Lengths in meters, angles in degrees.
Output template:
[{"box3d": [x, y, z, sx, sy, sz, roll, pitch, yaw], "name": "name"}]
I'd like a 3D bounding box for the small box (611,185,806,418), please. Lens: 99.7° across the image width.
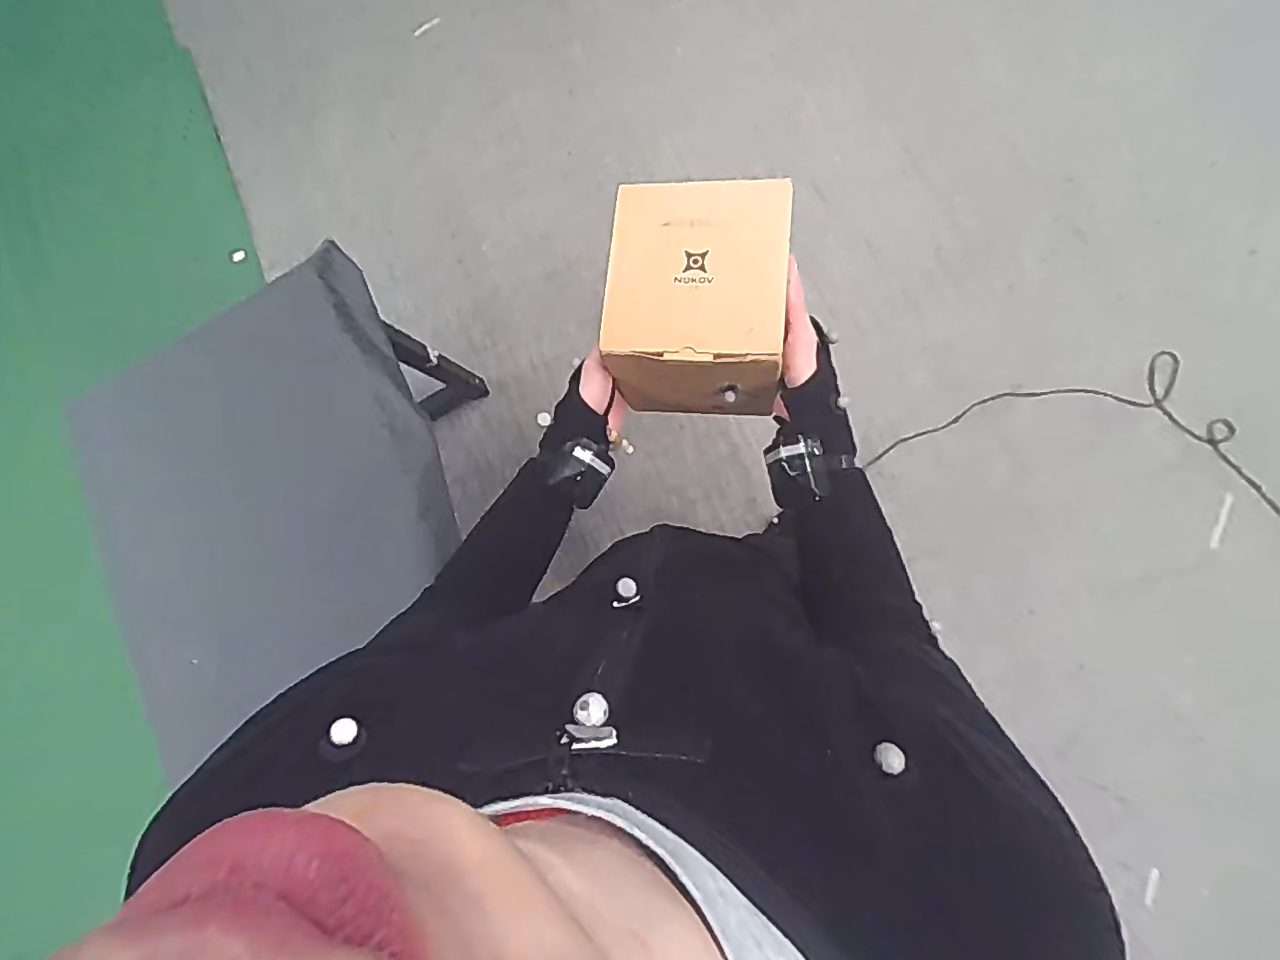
[{"box3d": [0.076, -0.173, 0.567, 0.168, 0.176, 0.179, 4, 78, 10], "name": "small box"}]
